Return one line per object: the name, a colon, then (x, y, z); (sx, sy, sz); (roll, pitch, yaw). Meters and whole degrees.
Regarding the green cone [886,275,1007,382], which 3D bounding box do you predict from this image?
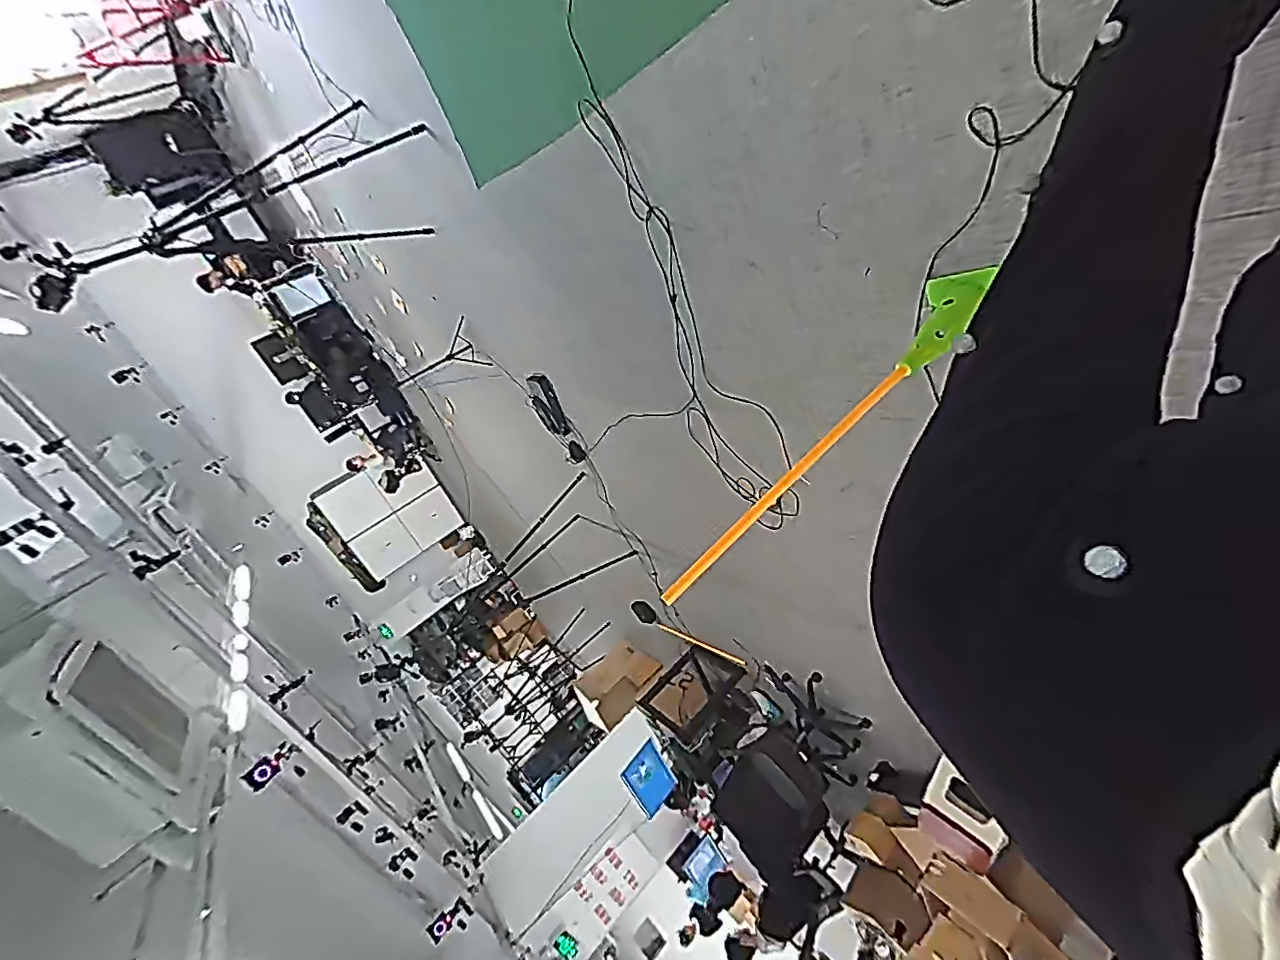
green cone: (0.774, -0.368, 1.431); (0.202, 0.368, 0.200); (12, 133, 57)
